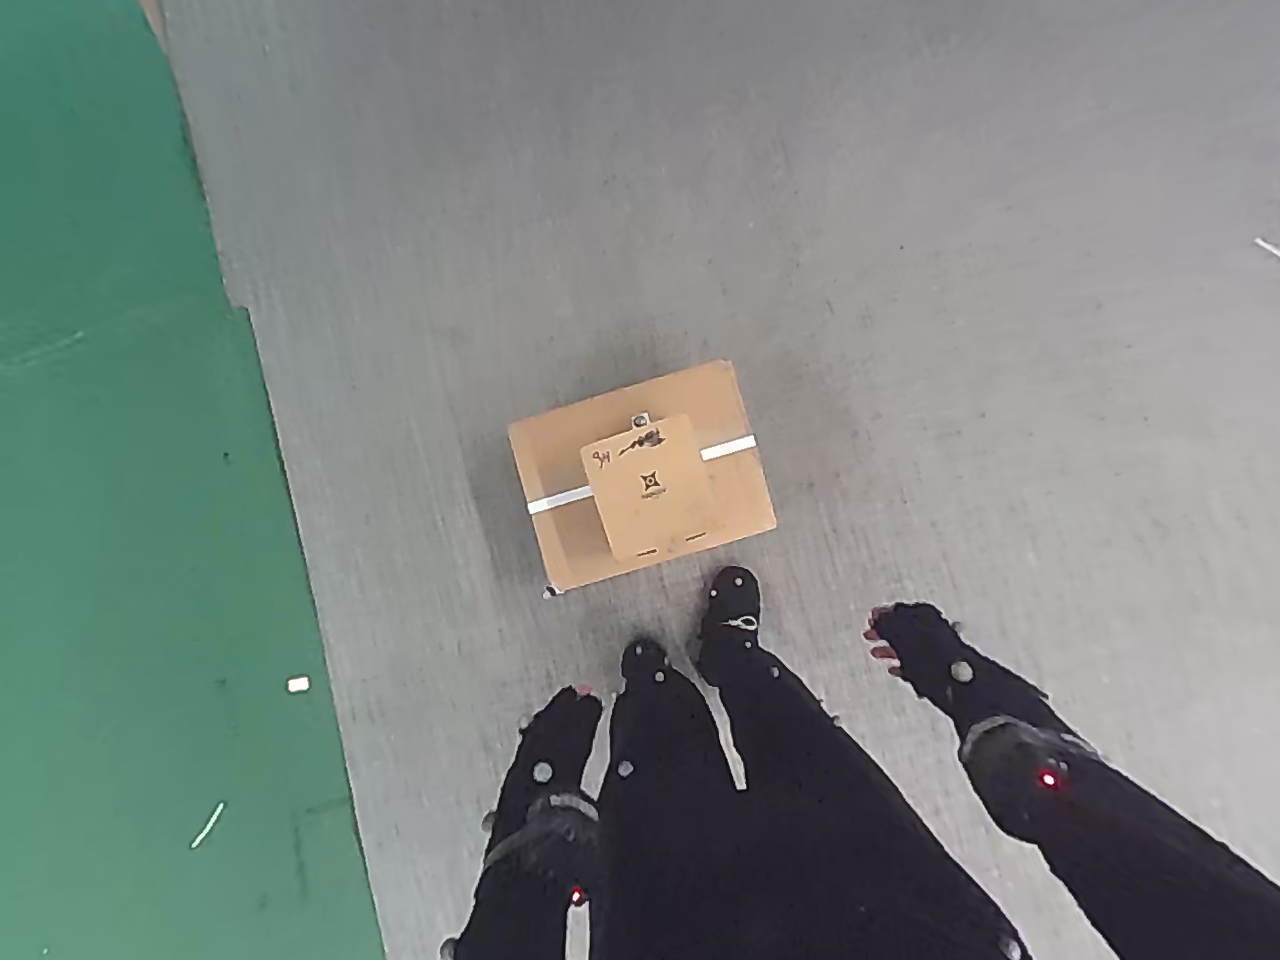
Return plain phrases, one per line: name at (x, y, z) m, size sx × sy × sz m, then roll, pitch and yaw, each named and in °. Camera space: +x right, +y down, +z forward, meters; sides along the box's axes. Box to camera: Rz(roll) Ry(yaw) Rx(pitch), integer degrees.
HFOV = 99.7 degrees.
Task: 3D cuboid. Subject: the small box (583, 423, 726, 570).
small box at (0.026, 0.025, 0.844) m, size 0.168 × 0.176 × 0.179 m, roll -18°, pitch 87°, yaw 2°
